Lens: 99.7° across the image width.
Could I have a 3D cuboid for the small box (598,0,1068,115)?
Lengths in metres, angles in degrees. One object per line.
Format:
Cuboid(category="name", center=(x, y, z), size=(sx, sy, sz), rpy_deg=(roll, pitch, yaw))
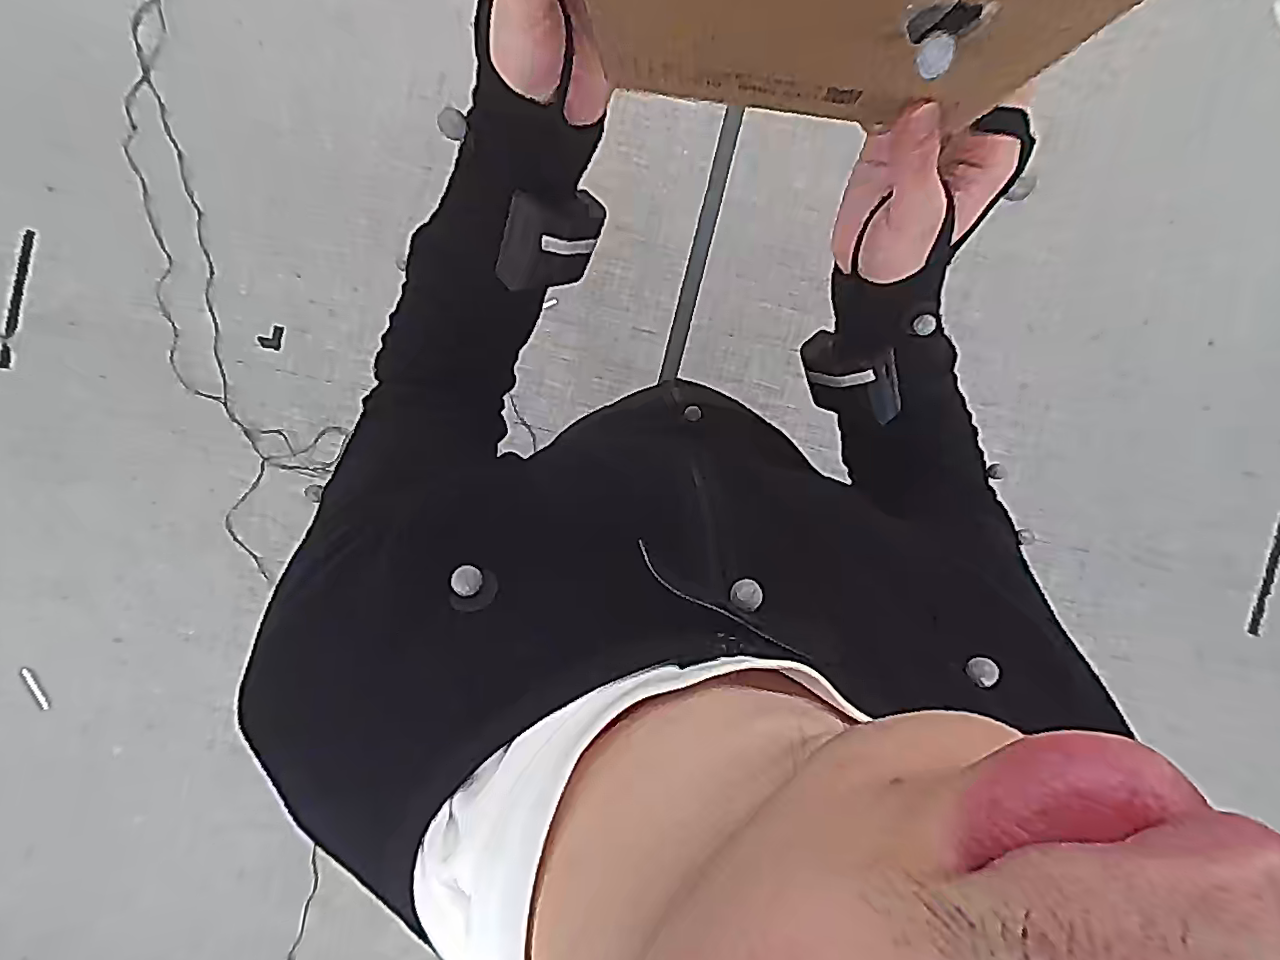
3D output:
Cuboid(category="small box", center=(0.070, -0.240, 0.163), size=(0.168, 0.176, 0.179), rpy_deg=(6, 105, 1))
